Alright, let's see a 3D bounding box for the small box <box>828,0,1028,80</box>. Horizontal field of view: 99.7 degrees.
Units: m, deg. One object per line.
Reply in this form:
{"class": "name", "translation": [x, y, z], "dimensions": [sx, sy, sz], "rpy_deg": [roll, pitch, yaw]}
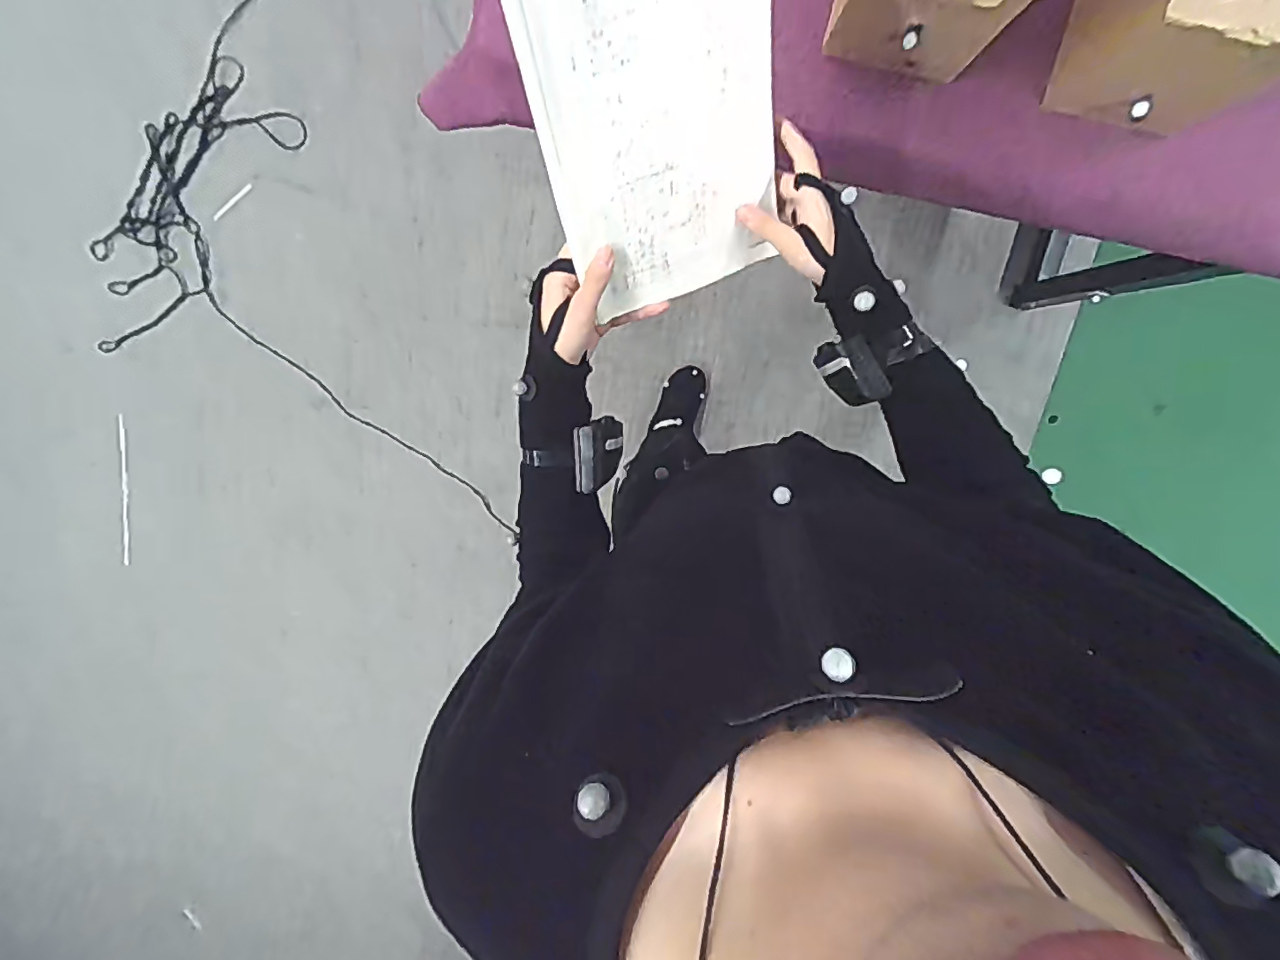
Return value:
{"class": "small box", "translation": [0.316, -0.569, 0.572], "dimensions": [0.168, 0.176, 0.179], "rpy_deg": [13, 102, 0]}
